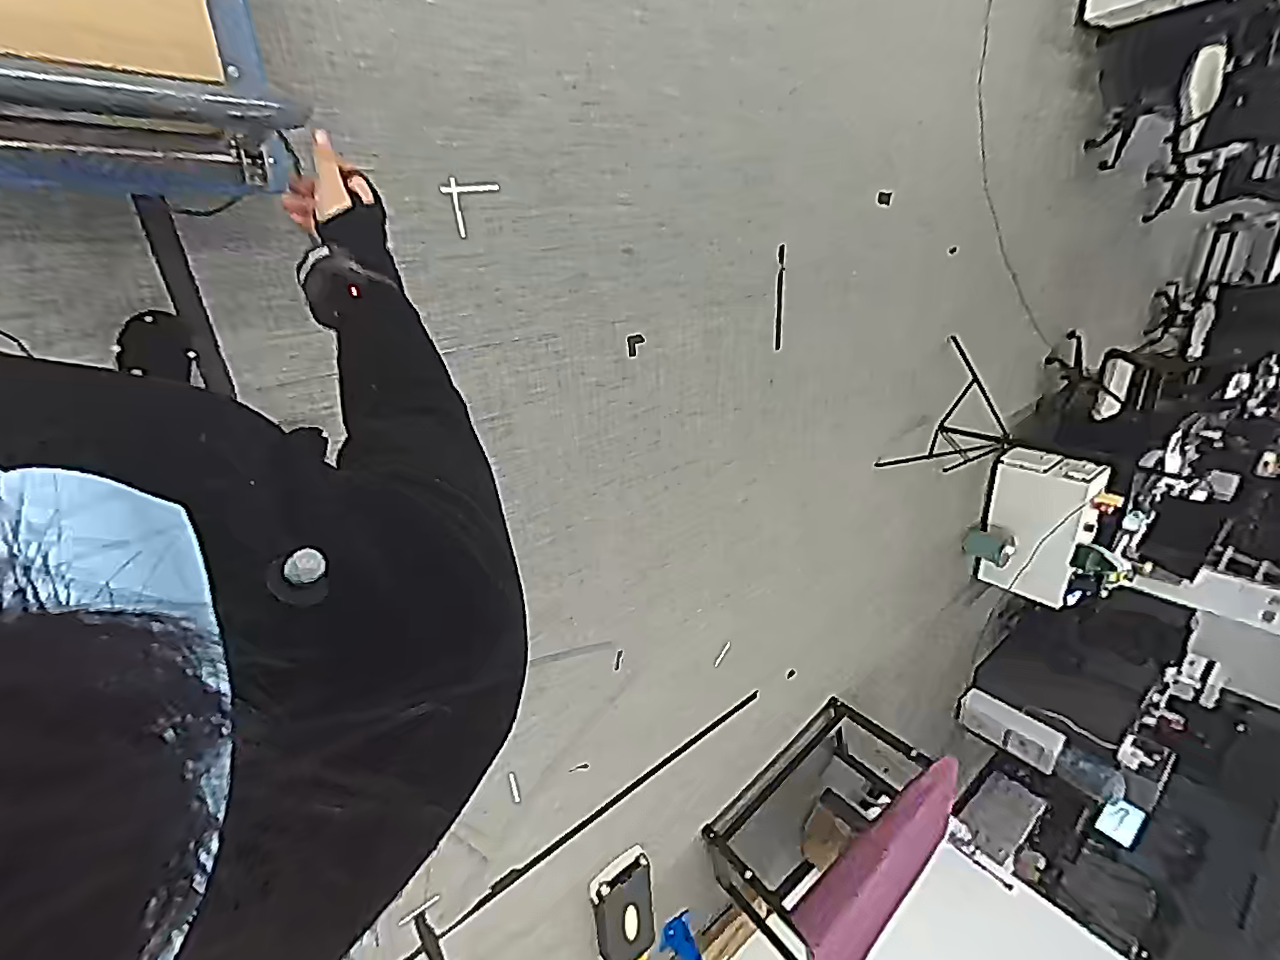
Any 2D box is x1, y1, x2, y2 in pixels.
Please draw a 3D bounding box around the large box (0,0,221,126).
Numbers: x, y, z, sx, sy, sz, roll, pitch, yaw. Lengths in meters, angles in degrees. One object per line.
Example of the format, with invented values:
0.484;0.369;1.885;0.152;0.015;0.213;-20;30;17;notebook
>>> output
-0.811;-0.666;0.667;0.408;0.320;0.320;-17;117;-34;large box
